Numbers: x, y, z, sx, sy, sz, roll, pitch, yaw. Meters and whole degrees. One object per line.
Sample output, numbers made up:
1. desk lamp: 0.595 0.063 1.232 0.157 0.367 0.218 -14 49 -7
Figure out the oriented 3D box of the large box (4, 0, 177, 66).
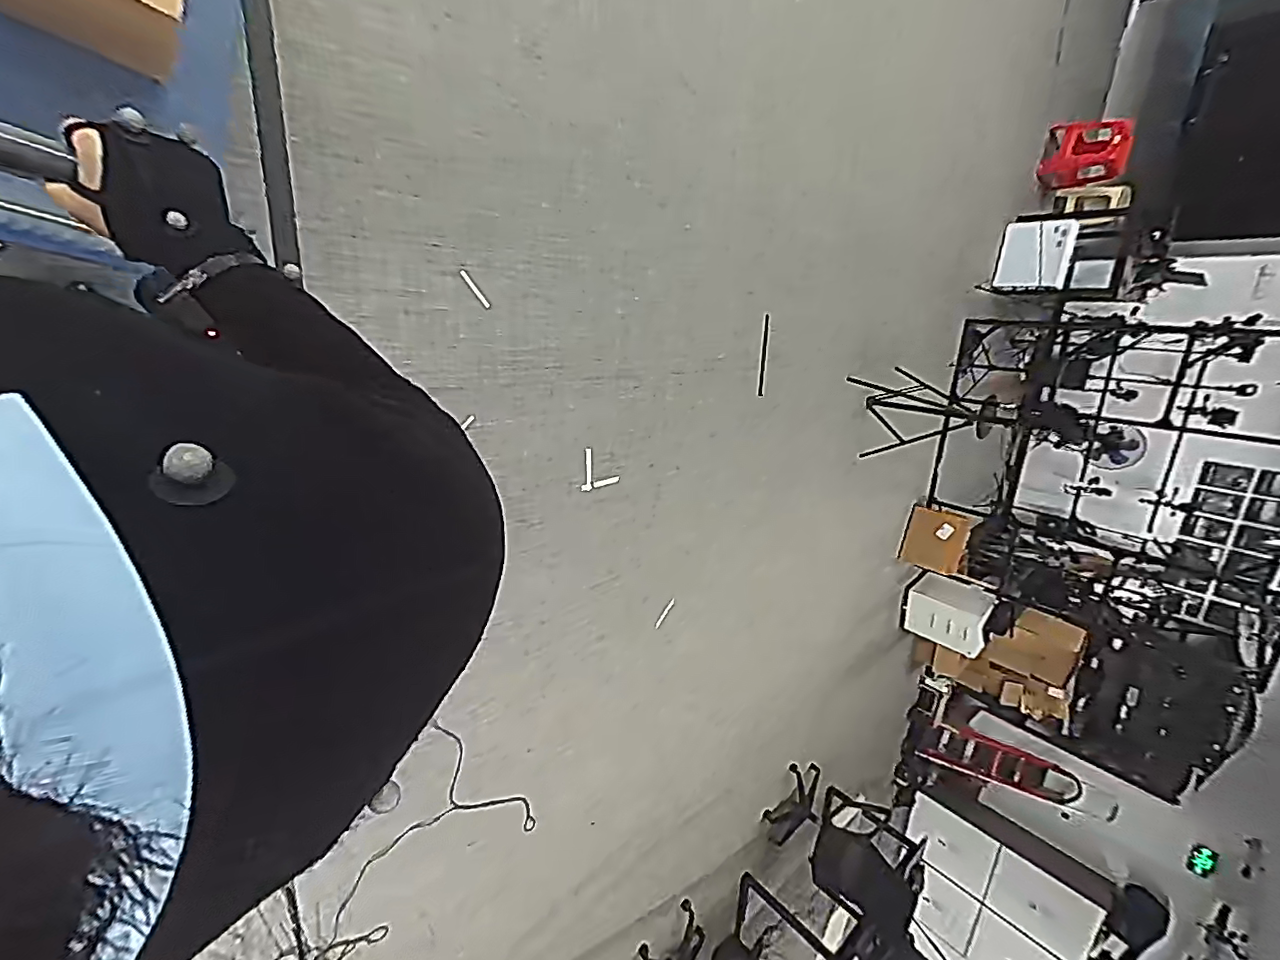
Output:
1. large box: -0.803 -0.798 0.637 0.408 0.320 0.320 6 100 -44
